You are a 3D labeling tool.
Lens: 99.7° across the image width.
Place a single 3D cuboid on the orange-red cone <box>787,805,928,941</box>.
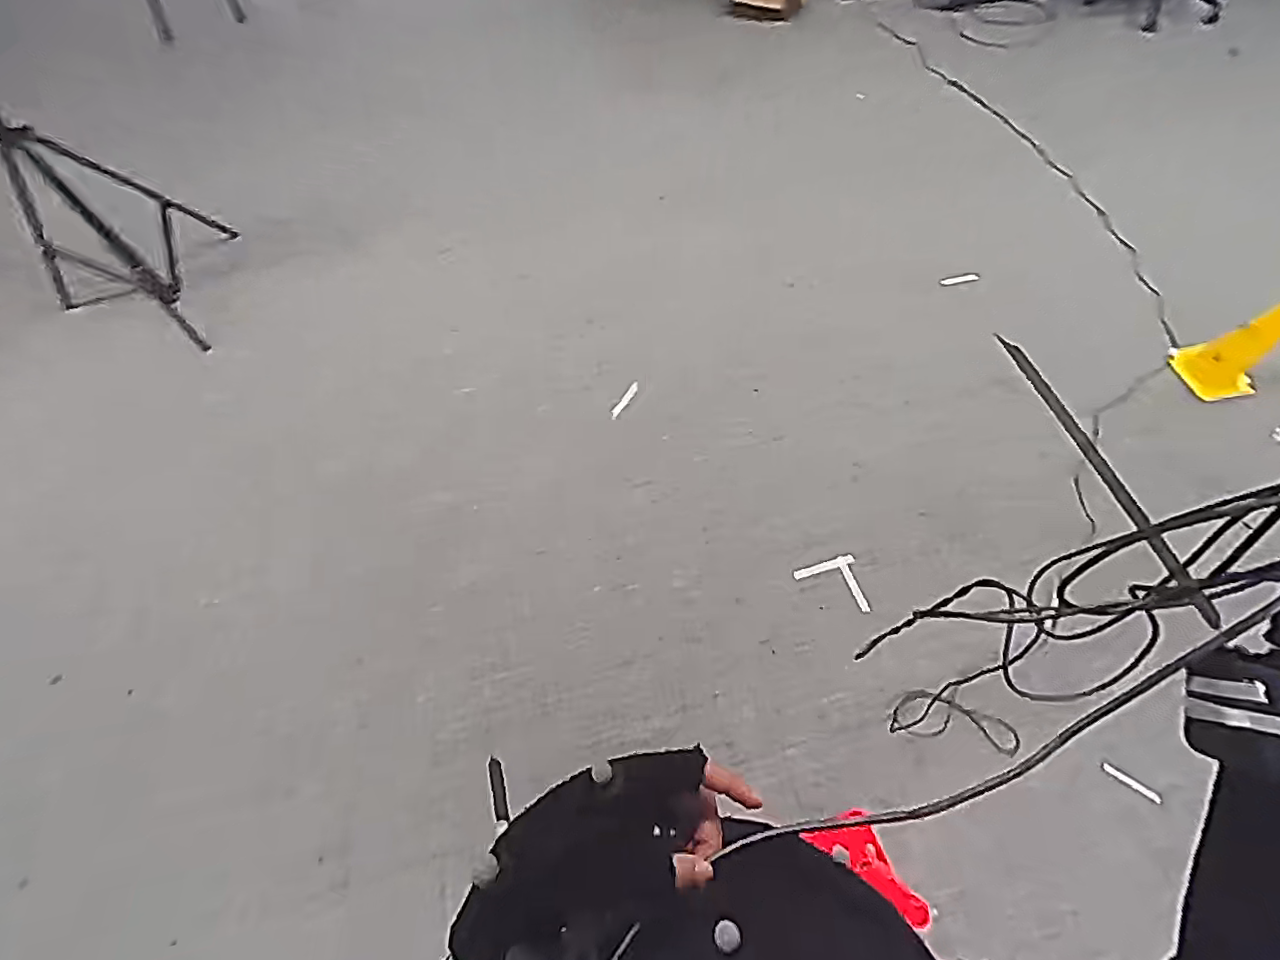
[{"bbox_3d":[0.428,0.741,0.982,0.198,0.360,0.199,-18,65,-8],"label":"orange-red cone"}]
